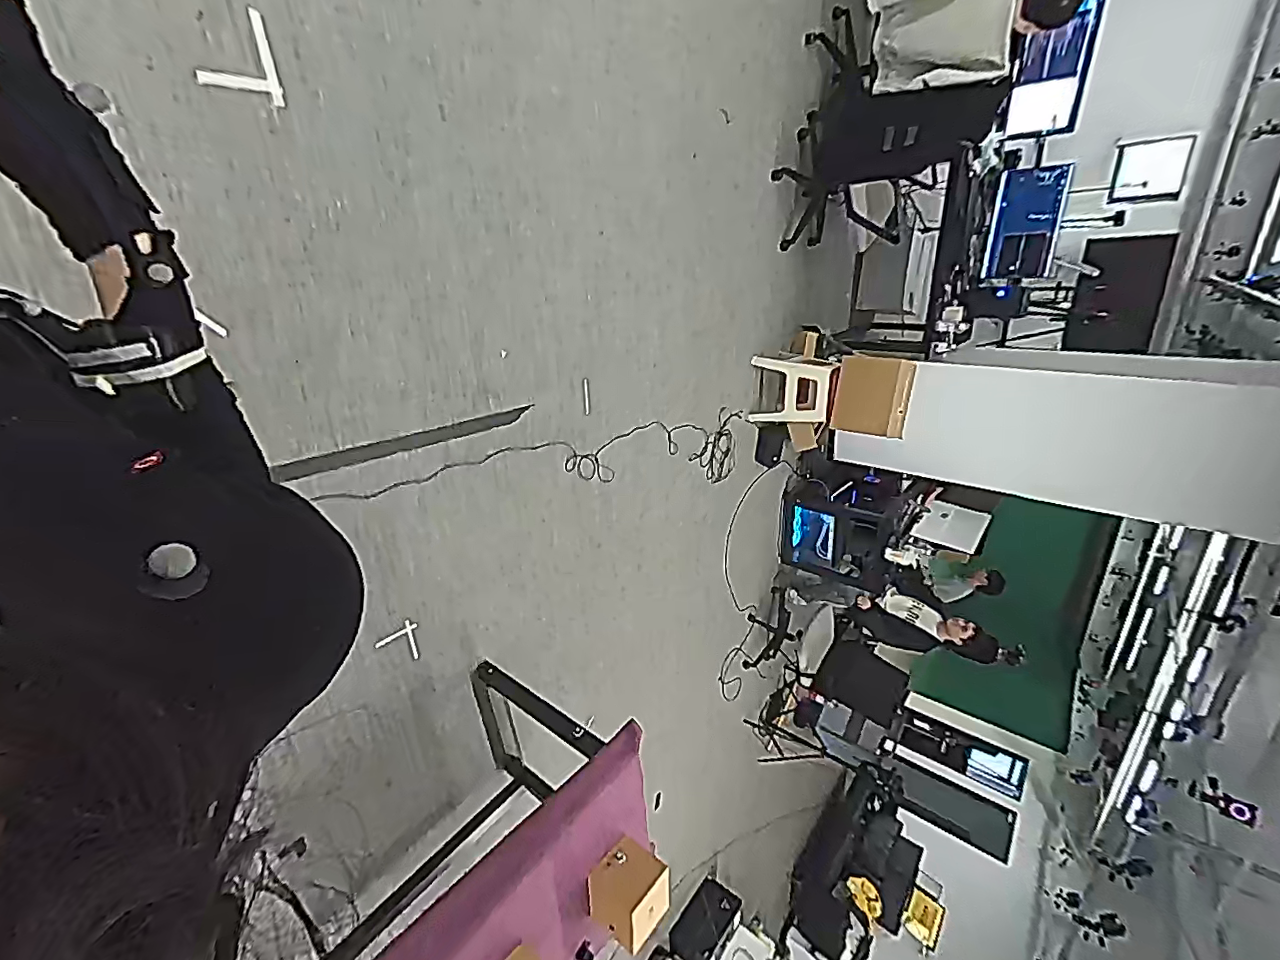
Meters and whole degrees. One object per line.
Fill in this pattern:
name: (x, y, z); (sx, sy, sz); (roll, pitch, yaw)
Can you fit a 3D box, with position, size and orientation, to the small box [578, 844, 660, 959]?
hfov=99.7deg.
small box: (-0.060, 1.196, 1.541); (0.168, 0.176, 0.179); (-24, 119, -47)
